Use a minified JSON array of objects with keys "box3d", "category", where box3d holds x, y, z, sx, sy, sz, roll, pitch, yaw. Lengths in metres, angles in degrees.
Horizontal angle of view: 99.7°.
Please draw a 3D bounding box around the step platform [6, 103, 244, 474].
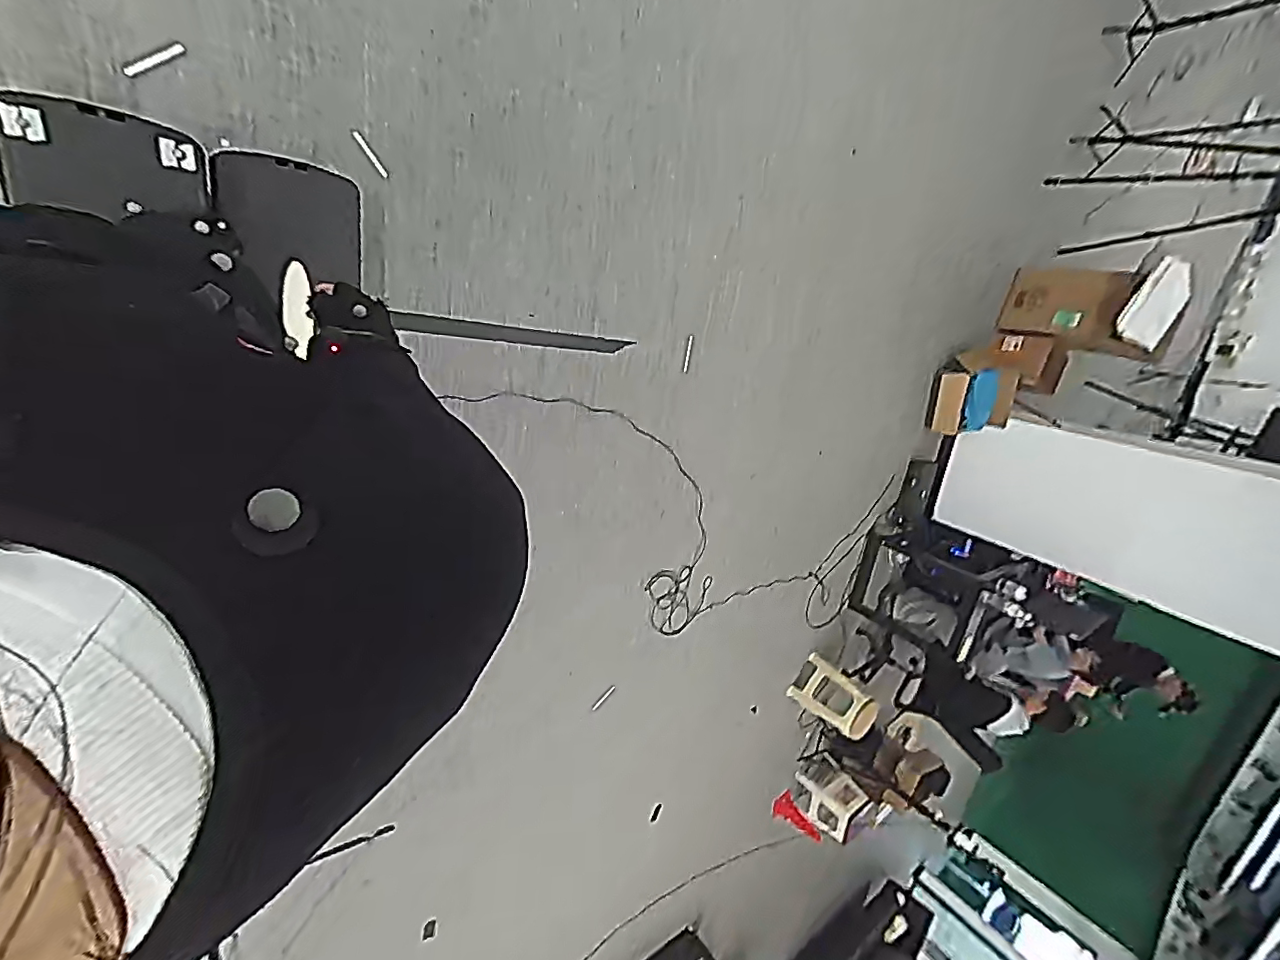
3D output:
[{"box3d":[-1.018,-0.353,1.111,0.286,0.204,0.684,-7,112,-38],"category":"step platform"}]
